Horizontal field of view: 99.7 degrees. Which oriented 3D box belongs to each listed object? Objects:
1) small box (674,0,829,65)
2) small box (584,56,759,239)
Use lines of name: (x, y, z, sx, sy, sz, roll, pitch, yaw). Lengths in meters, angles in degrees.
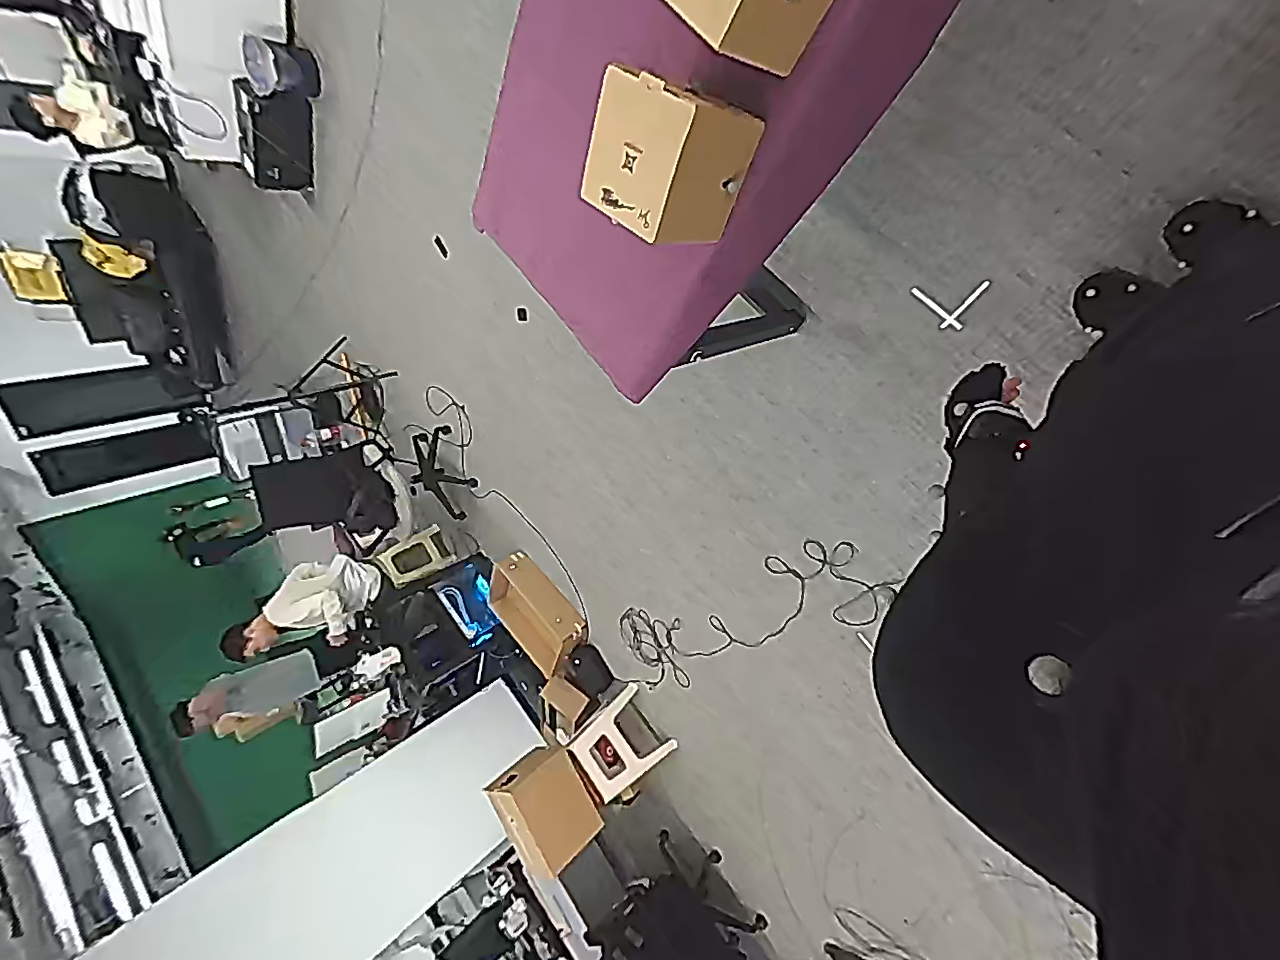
small box: (0.137, -0.633, 0.628, 0.168, 0.176, 0.179, 54, 138, 13)
small box: (0.048, -0.476, 0.794, 0.168, 0.176, 0.179, 43, 132, 24)
